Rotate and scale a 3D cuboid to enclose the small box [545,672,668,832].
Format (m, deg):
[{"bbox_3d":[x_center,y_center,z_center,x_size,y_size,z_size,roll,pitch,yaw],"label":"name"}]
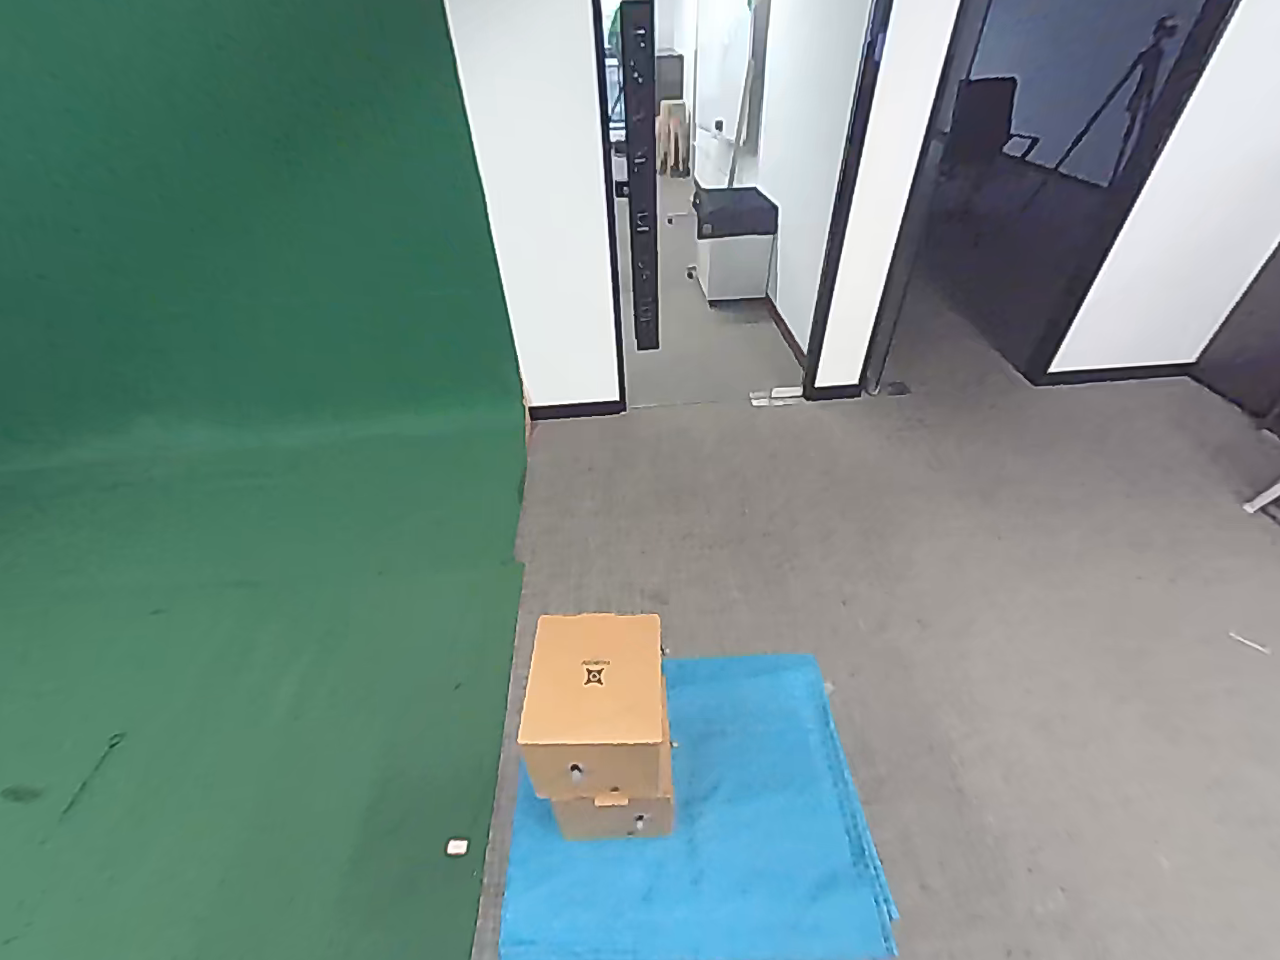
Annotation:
[{"bbox_3d":[-0.042,0.415,0.820,0.168,0.176,0.179,-1,40,0],"label":"small box"}]

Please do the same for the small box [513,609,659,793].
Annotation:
[{"bbox_3d":[-0.058,0.292,0.715,0.168,0.176,0.179,0,39,1],"label":"small box"}]
